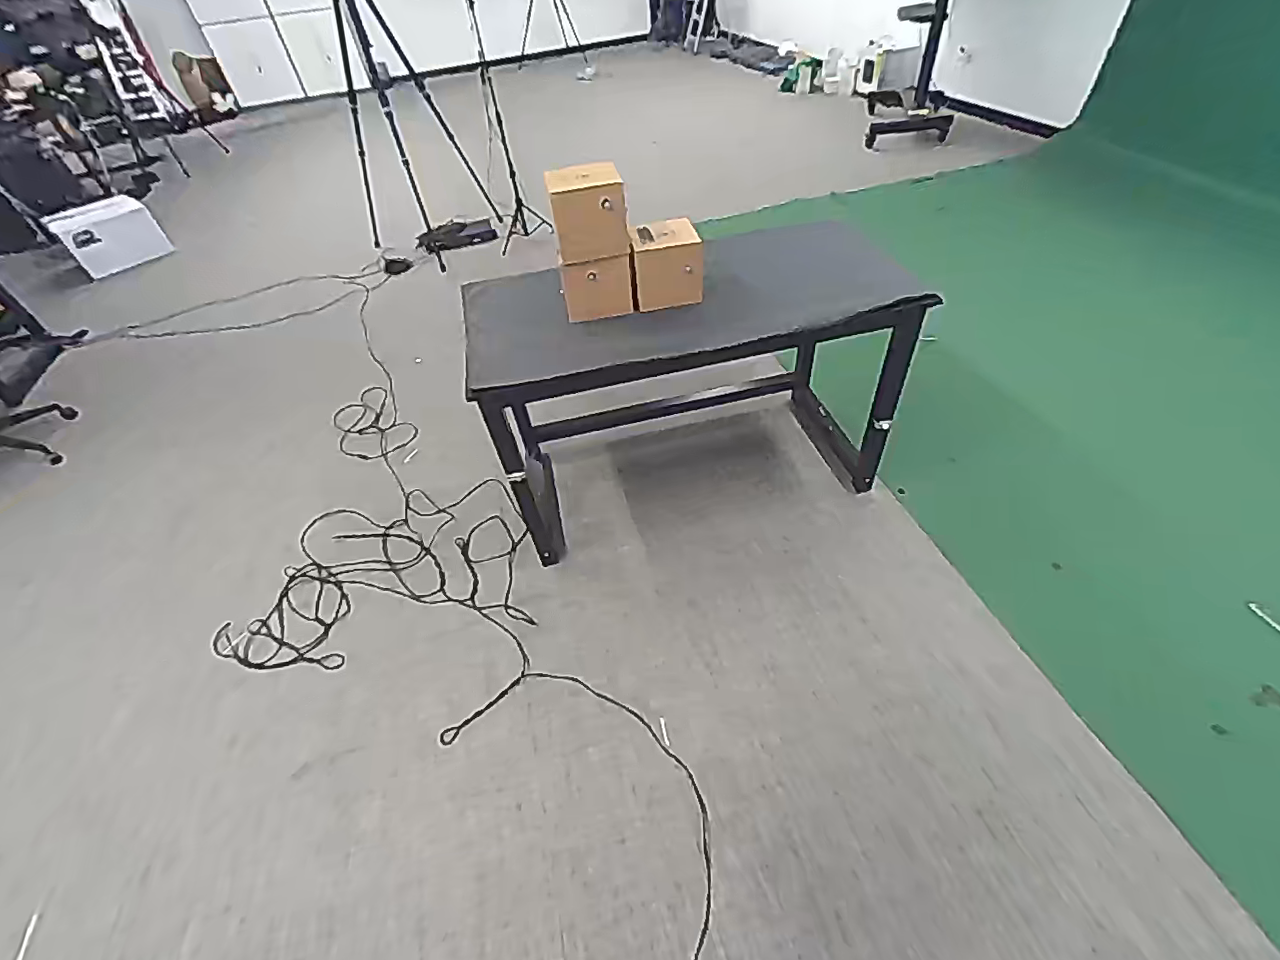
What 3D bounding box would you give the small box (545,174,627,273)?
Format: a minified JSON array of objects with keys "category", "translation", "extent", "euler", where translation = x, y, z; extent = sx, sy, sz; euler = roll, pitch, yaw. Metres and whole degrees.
[{"category":"small box","translation":[-0.132,-0.644,1.361],"extent":[0.179,0.176,0.168],"euler":[-12,45,-5]}]
